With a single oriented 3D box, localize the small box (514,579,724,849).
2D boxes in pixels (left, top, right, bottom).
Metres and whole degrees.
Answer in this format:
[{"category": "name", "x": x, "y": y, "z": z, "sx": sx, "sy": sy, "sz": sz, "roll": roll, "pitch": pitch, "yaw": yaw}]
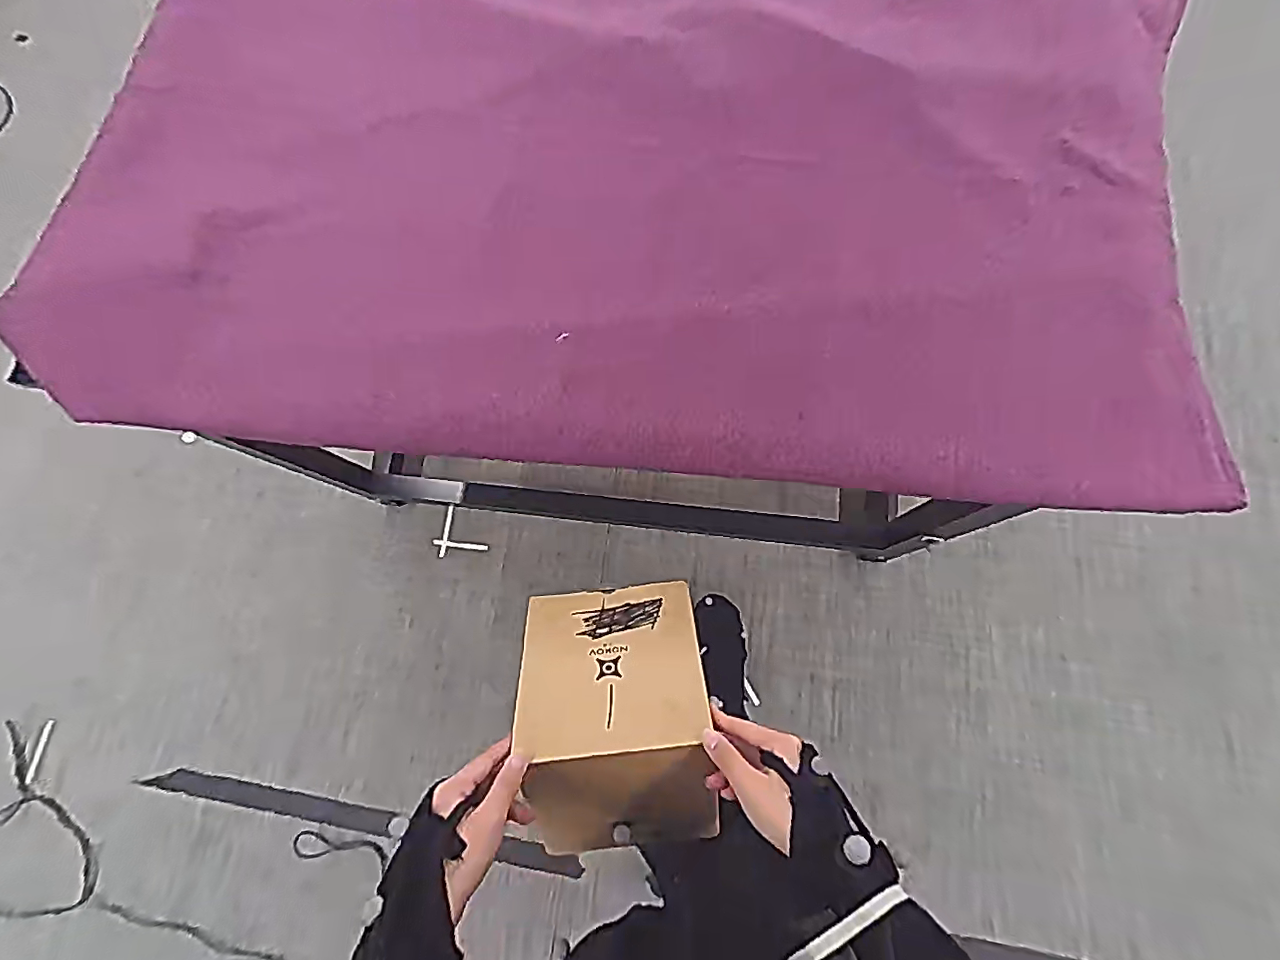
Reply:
[{"category": "small box", "x": -0.015, "y": 0.224, "z": 0.531, "sx": 0.168, "sy": 0.176, "sz": 0.179, "roll": -7, "pitch": 36, "yaw": 0}]
